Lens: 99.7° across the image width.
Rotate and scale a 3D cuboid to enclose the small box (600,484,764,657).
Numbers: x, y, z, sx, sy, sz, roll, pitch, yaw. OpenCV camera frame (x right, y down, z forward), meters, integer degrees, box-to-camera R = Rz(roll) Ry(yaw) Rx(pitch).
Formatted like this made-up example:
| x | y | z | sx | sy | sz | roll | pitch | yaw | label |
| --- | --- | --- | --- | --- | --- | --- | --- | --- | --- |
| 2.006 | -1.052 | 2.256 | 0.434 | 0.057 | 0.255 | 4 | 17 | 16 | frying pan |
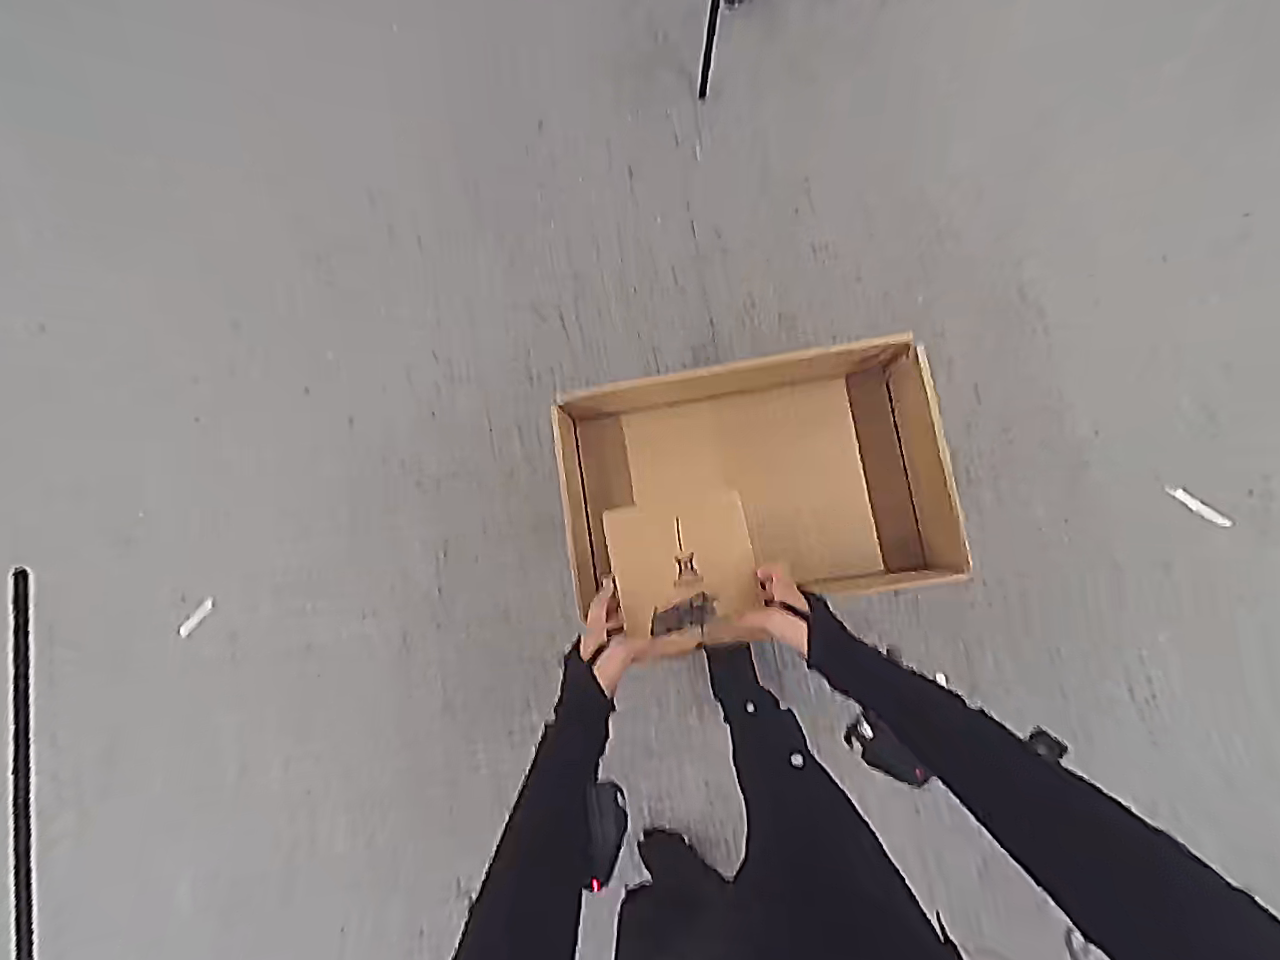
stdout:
| x | y | z | sx | sy | sz | roll | pitch | yaw | label |
| --- | --- | --- | --- | --- | --- | --- | --- | --- | --- |
| 0.044 | 0.115 | 0.703 | 0.168 | 0.176 | 0.179 | -11 | 81 | -6 | small box |
